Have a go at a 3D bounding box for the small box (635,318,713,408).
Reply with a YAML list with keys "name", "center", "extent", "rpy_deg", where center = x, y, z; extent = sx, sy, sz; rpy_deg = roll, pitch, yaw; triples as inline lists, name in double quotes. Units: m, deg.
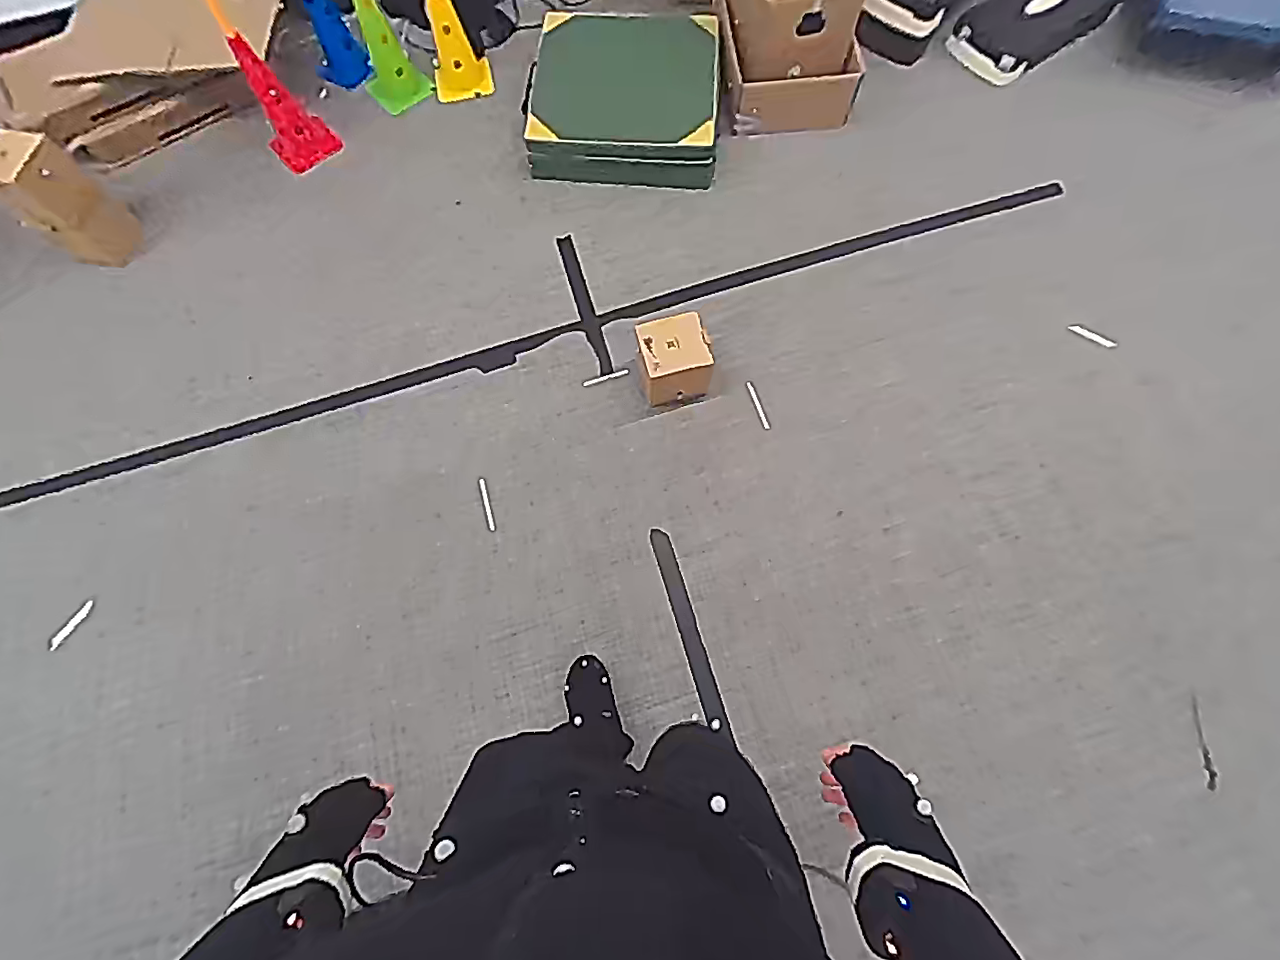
- name: "small box"
  center: [0.088, -0.321, 1.503]
  extent: [0.179, 0.176, 0.168]
  rpy_deg: [-13, 71, -5]
